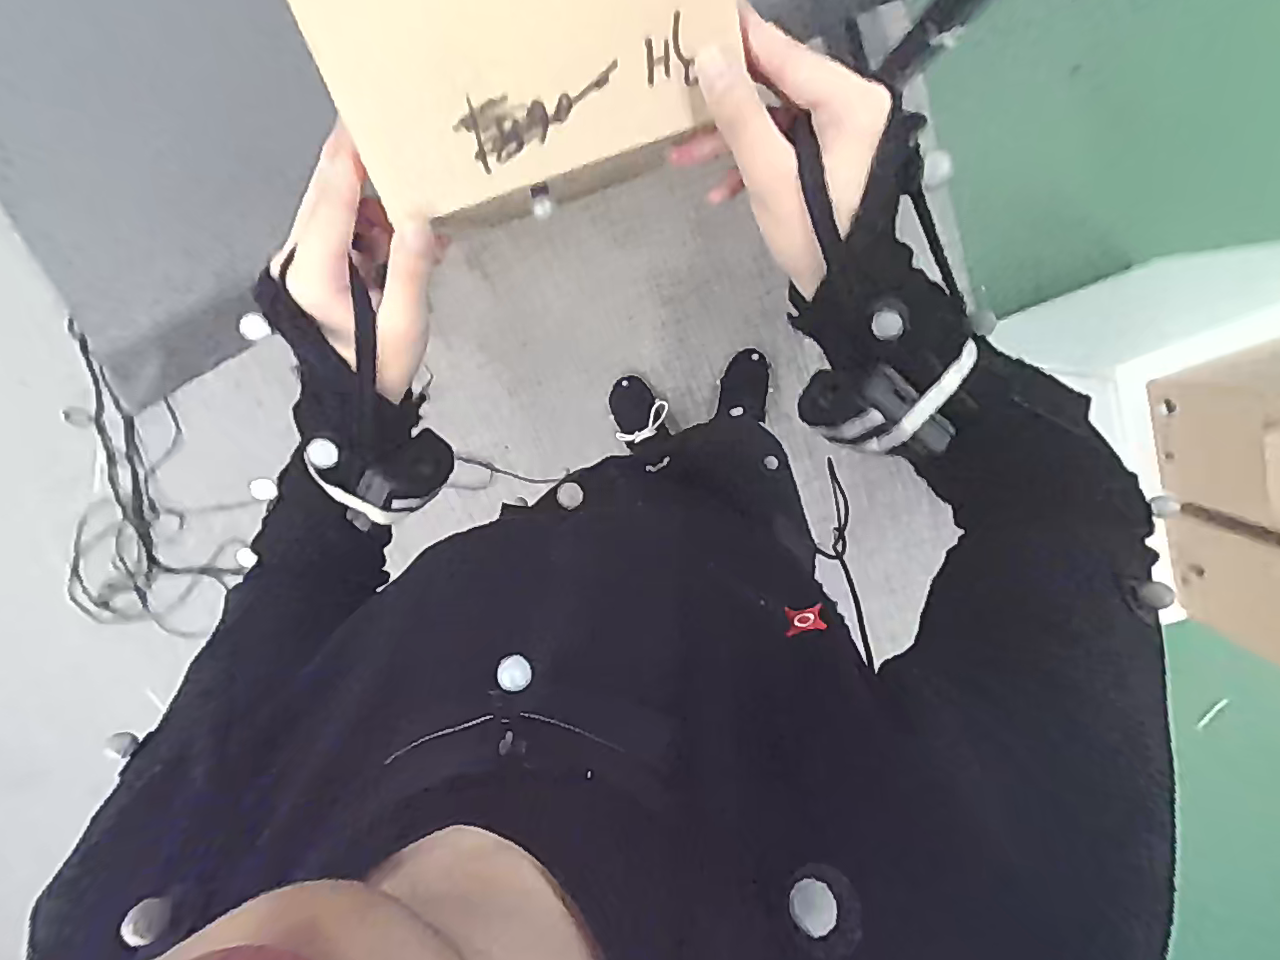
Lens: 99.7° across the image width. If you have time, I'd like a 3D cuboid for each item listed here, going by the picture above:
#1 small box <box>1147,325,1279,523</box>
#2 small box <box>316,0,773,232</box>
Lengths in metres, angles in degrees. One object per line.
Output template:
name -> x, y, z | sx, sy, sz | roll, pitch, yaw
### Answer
small box -> 0.747, -0.073, 0.631 | 0.179, 0.176, 0.168 | -21, 105, 7
small box -> -0.049, -0.237, 0.268 | 0.168, 0.176, 0.179 | -16, 114, 4
